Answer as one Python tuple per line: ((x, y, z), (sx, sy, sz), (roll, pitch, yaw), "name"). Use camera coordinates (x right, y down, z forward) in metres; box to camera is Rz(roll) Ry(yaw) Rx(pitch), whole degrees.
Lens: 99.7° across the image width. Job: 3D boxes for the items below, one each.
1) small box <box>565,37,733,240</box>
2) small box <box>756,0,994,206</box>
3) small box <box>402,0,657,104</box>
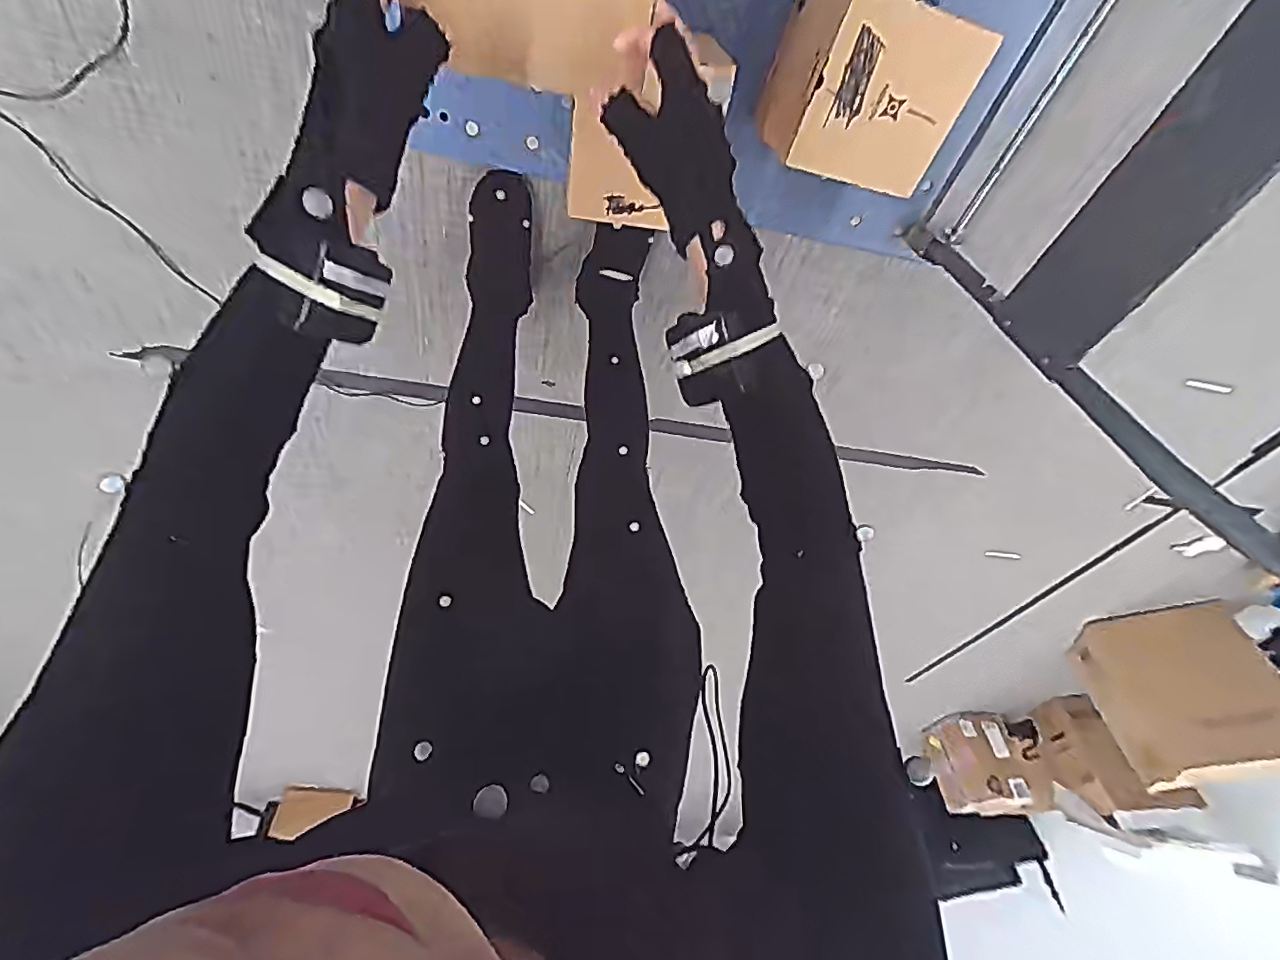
((-0.003, -0.428, 0.664), (0.168, 0.176, 0.179), (4, 137, -10), "small box")
((0.259, -0.464, 0.649), (0.179, 0.176, 0.168), (8, 136, -14), "small box")
((-0.077, -0.415, 0.404), (0.179, 0.176, 0.168), (3, 136, -12), "small box")
